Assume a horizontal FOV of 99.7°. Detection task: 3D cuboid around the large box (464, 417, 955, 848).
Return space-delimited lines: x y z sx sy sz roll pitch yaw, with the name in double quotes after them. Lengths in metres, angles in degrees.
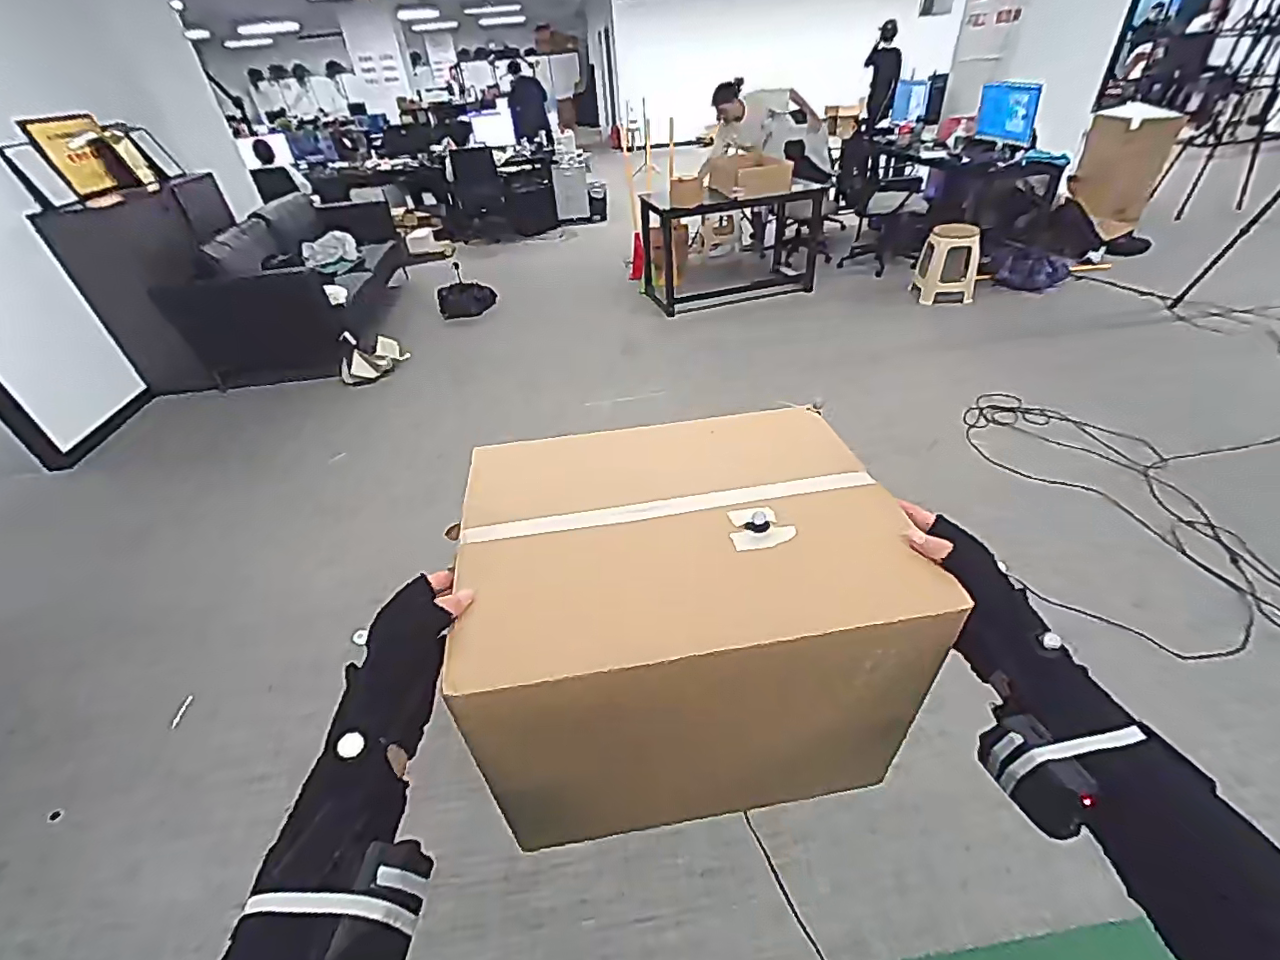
0.042 0.157 0.620 0.408 0.320 0.320 -7 39 -6 "large box"
